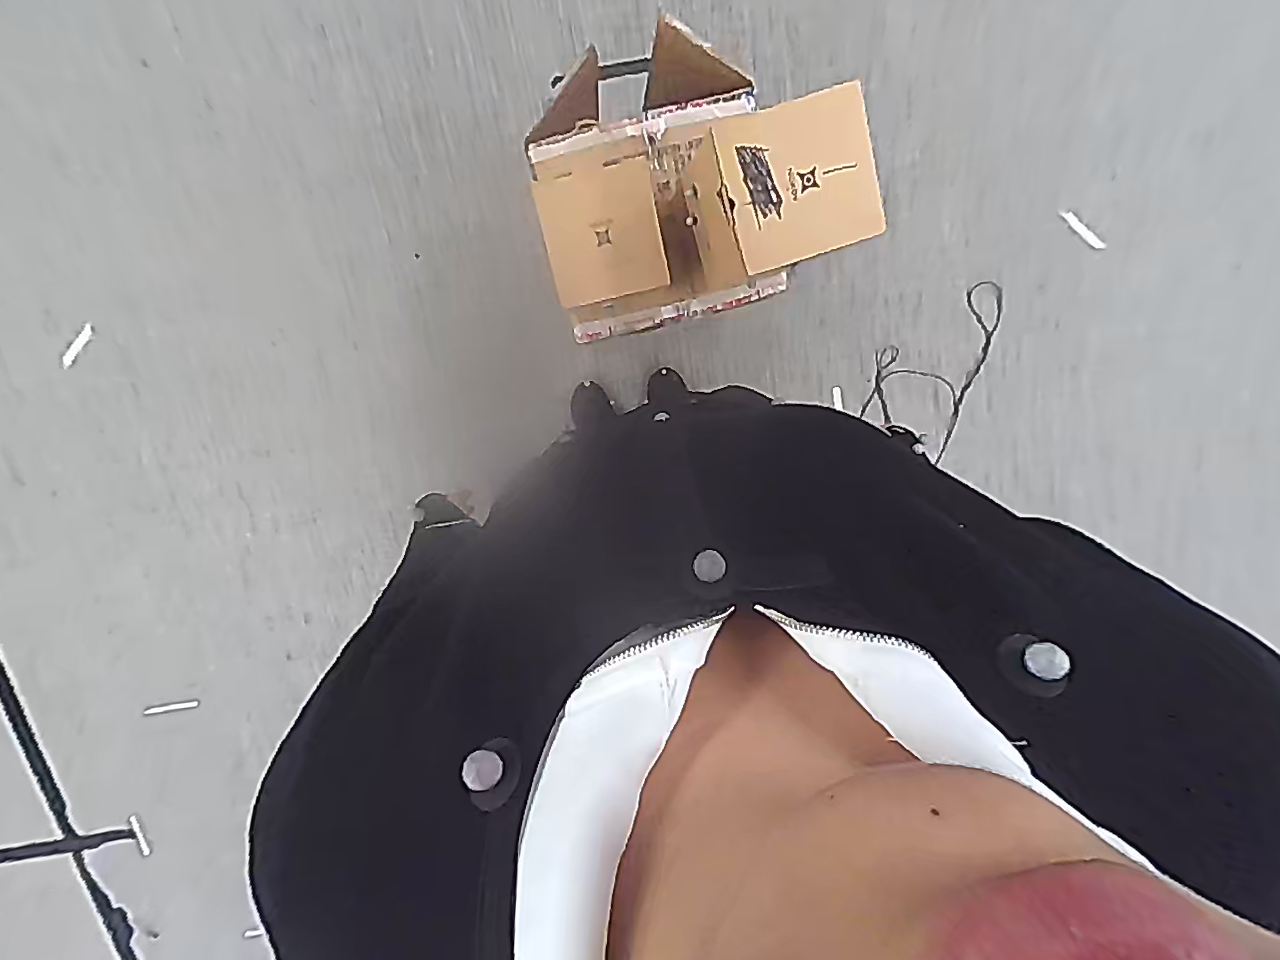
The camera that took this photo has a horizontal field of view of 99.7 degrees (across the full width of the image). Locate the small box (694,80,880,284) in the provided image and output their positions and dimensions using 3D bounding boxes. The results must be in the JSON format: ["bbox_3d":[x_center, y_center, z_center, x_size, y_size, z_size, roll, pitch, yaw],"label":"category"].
[{"bbox_3d":[0.175,-0.365,0.698,0.179,0.176,0.168,-18,105,0],"label":"small box"}]

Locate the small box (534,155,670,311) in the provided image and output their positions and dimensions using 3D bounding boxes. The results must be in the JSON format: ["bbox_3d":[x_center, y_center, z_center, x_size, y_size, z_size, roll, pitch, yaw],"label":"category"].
[{"bbox_3d":[-0.056,-0.375,0.852,0.168,0.176,0.179,-13,106,2],"label":"small box"}]

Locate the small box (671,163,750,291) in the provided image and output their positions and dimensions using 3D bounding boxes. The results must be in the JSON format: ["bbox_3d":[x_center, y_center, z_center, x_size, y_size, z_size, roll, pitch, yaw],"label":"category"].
[{"bbox_3d":[0.163,-0.411,0.857,0.179,0.176,0.168,-18,105,0],"label":"small box"}]
